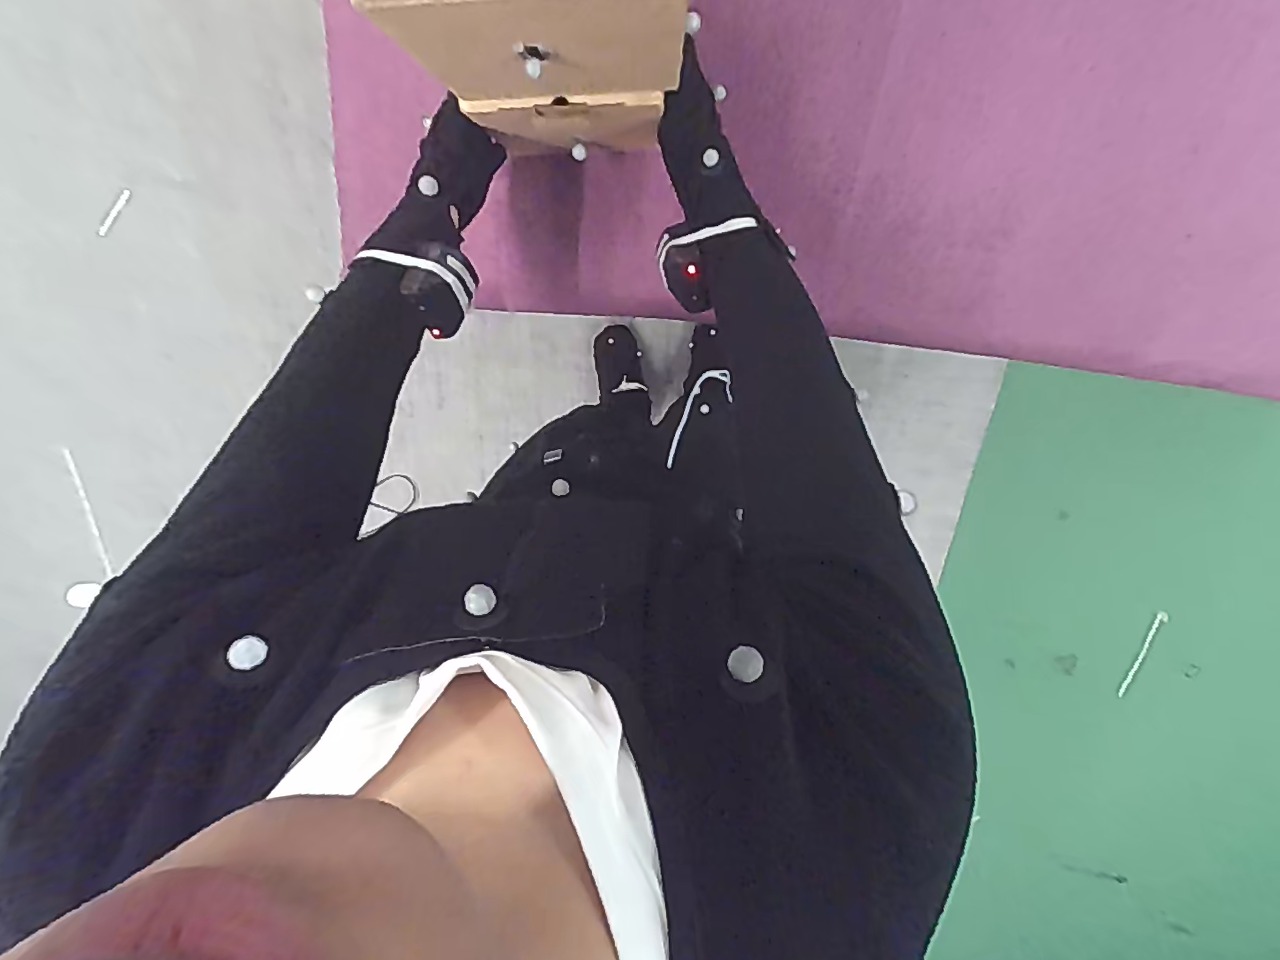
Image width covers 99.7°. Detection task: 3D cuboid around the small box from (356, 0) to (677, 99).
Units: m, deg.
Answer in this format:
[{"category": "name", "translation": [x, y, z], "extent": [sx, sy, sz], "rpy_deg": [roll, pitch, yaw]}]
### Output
[{"category": "small box", "translation": [-0.063, -0.350, 0.320], "extent": [0.179, 0.176, 0.168], "rpy_deg": [2, 109, 2]}]

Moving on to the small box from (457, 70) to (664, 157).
[{"category": "small box", "translation": [-0.062, -0.405, 0.478], "extent": [0.168, 0.176, 0.179], "rpy_deg": [0, 111, 3]}]
